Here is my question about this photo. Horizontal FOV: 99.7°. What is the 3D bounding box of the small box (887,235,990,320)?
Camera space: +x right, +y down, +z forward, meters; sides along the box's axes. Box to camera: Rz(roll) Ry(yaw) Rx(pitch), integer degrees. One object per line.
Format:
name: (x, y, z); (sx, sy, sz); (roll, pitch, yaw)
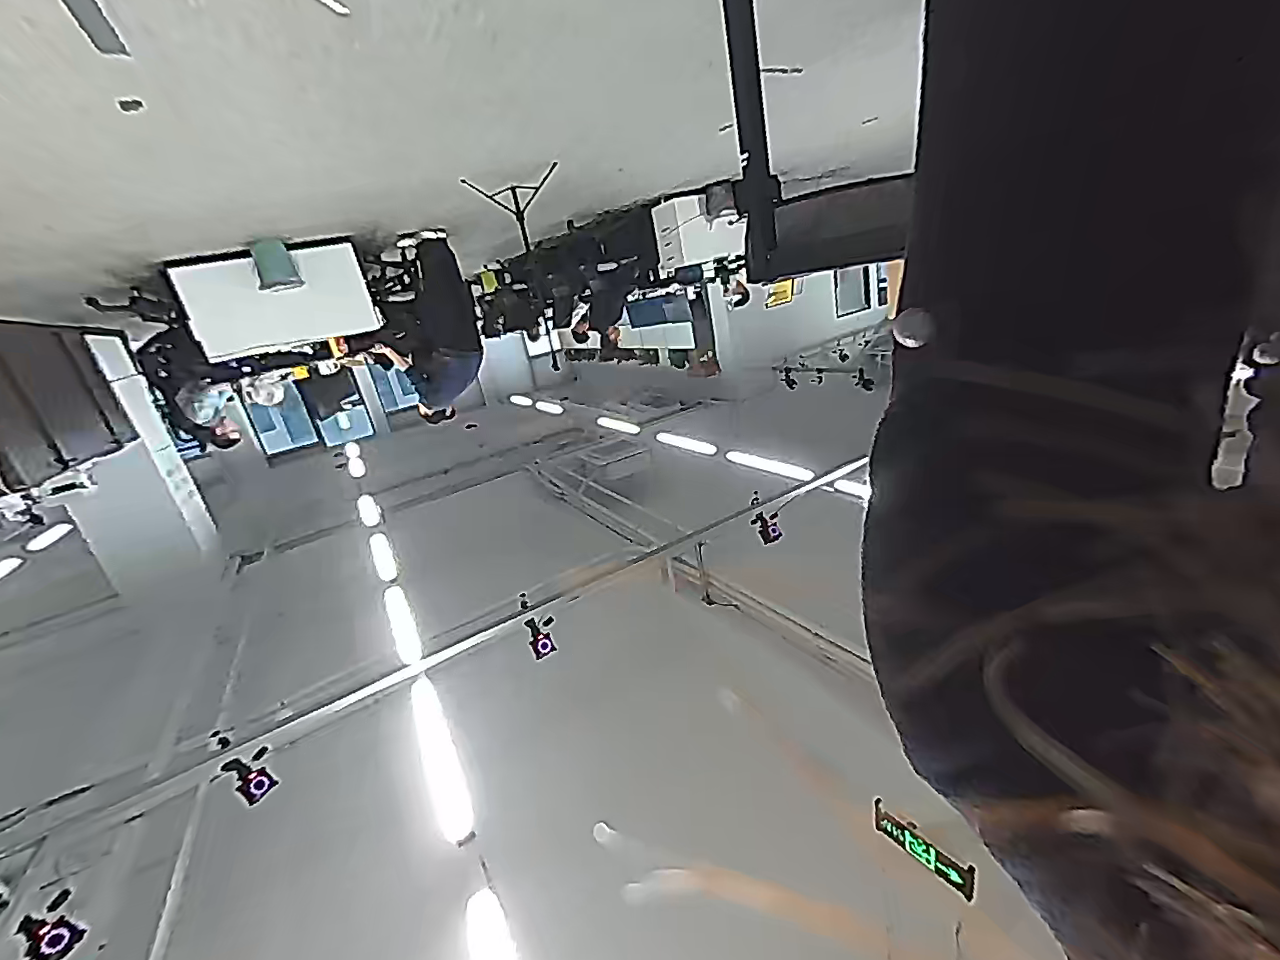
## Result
small box: (0.751, -0.513, 1.371); (0.168, 0.176, 0.179); (-19, -159, -19)
